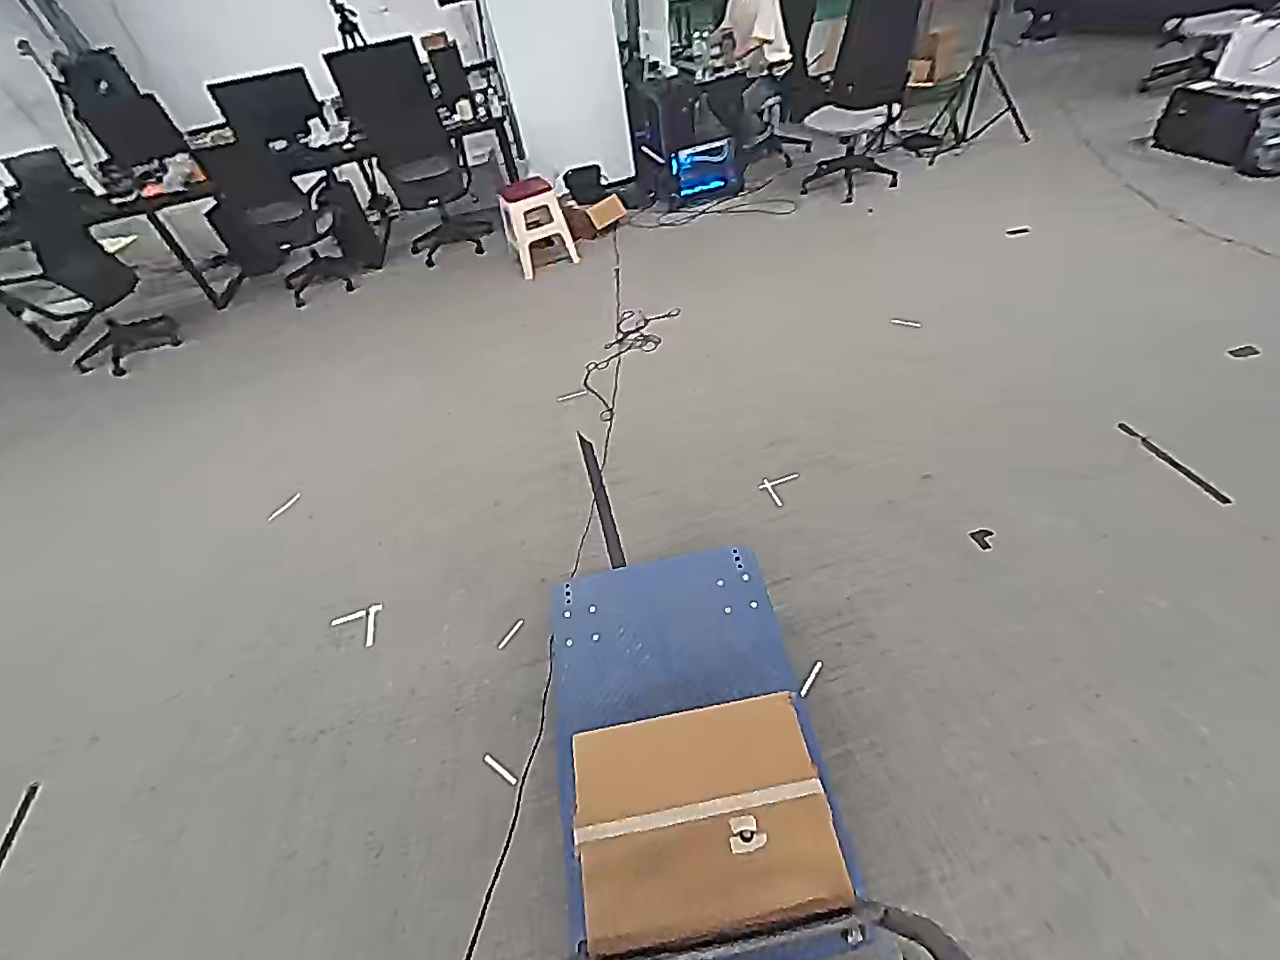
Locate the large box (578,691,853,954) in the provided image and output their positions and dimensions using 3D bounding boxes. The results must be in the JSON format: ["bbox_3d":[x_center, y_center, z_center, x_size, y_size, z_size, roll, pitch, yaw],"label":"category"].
[{"bbox_3d":[0.121,0.640,1.015,0.408,0.320,0.320,-12,51,0],"label":"large box"}]
